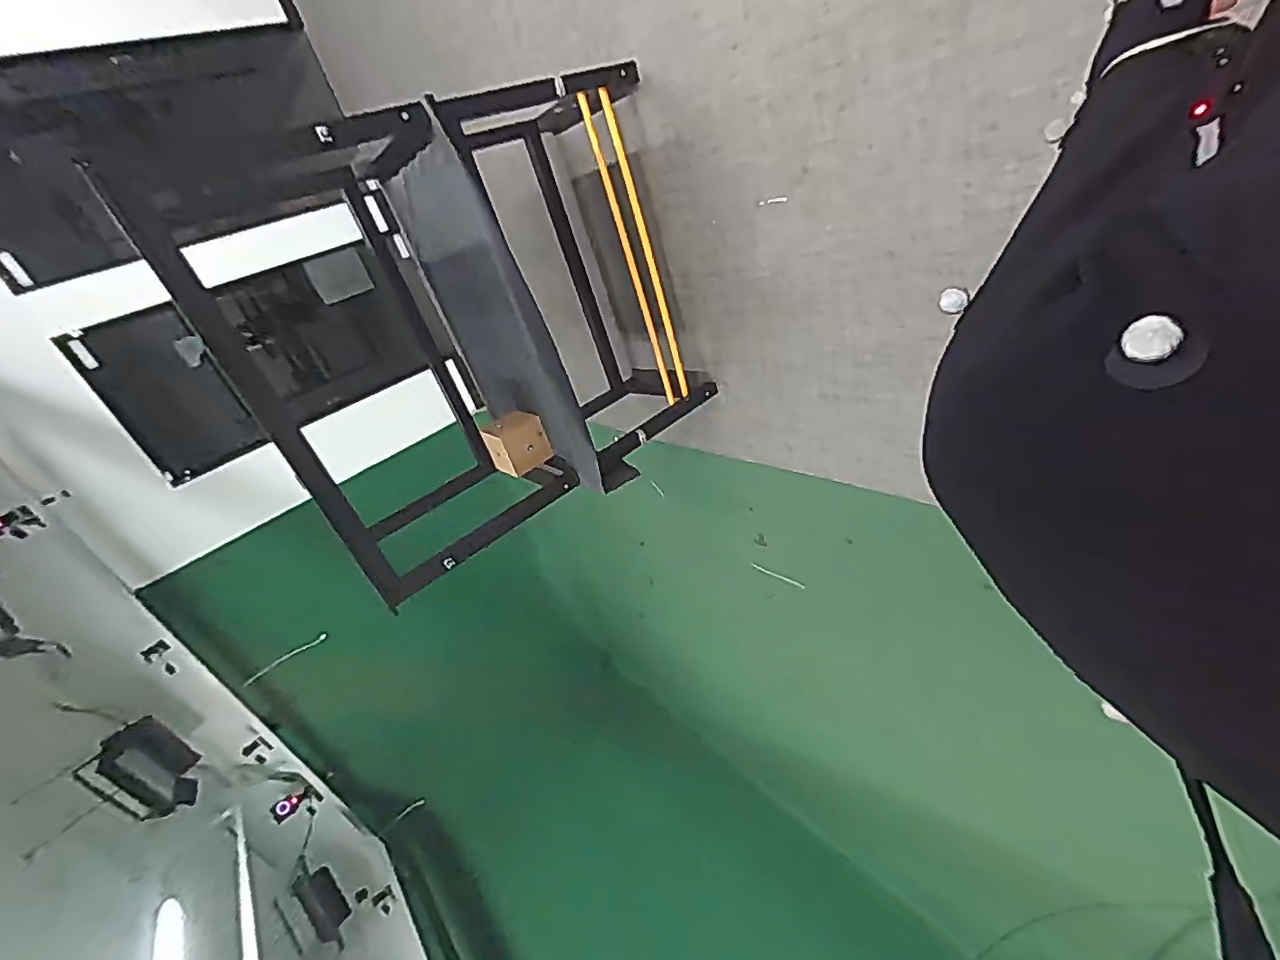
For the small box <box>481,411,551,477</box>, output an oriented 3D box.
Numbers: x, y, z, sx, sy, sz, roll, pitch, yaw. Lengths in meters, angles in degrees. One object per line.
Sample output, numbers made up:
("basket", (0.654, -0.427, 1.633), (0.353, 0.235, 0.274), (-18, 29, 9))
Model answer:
("small box", (-0.444, -0.137, 1.969), (0.179, 0.176, 0.168), (20, 136, 48))
